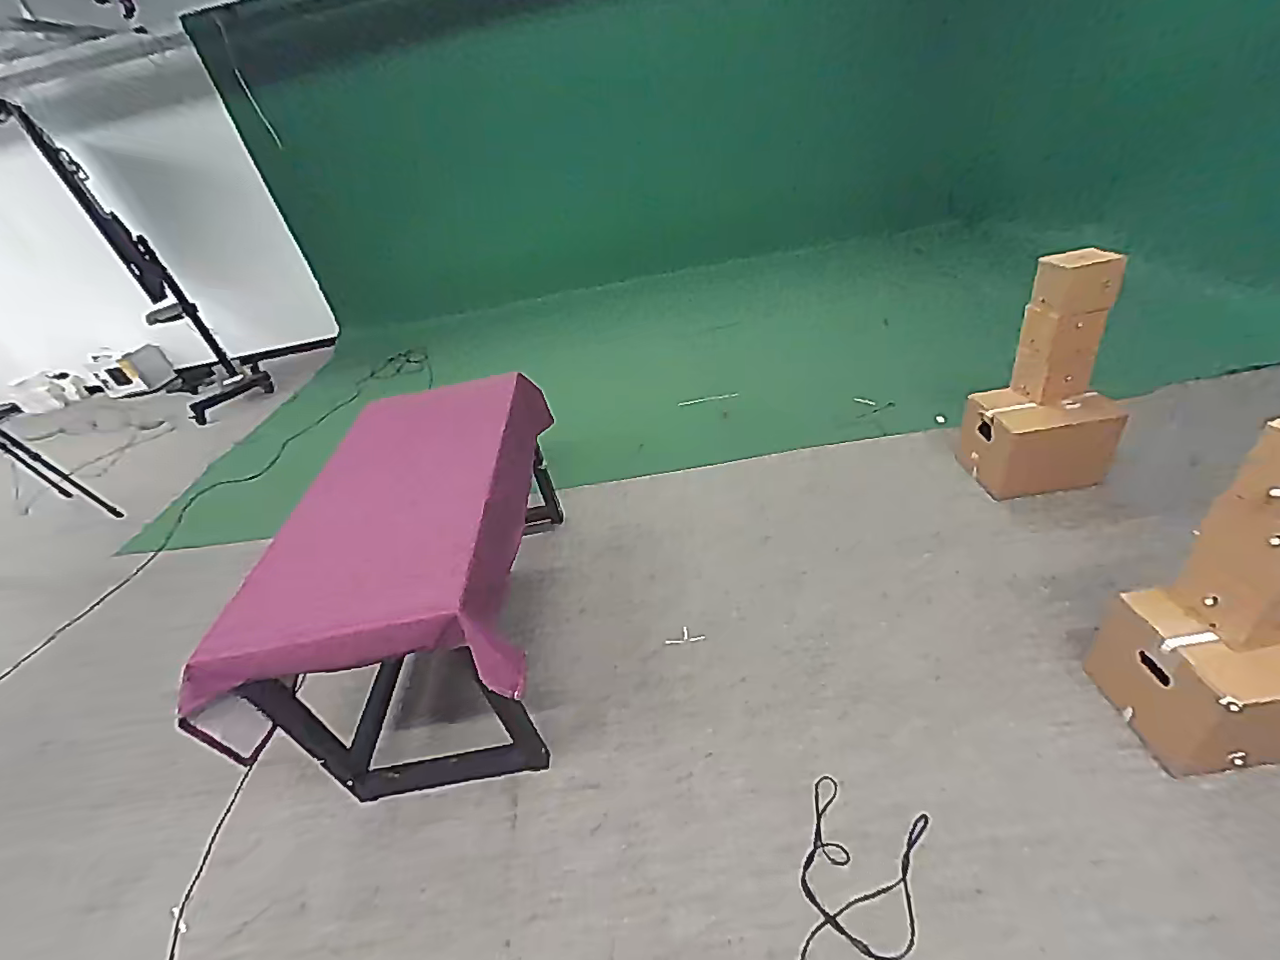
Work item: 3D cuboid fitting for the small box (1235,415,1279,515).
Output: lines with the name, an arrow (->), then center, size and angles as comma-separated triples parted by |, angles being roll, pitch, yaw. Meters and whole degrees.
small box -> 1.301, -0.025, 1.012 | 0.179, 0.176, 0.168 | -14, 34, -1

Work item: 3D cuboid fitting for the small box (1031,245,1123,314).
small box -> 1.489, -0.687, 1.856 | 0.179, 0.176, 0.168 | -10, 32, 6

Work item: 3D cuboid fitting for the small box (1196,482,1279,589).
small box -> 1.326, 0.106, 1.108 | 0.168, 0.176, 0.179 | -12, 34, 1

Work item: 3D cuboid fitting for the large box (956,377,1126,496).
large box -> 1.536, -0.170, 2.117 | 0.408, 0.320, 0.320 | -9, 35, 3

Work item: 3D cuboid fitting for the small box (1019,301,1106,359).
small box -> 1.513, -0.554, 1.948 | 0.179, 0.176, 0.168 | -11, 32, 4

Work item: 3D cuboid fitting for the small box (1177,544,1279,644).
small box -> 1.361, 0.239, 1.201 | 0.179, 0.176, 0.168 | -13, 34, 2
